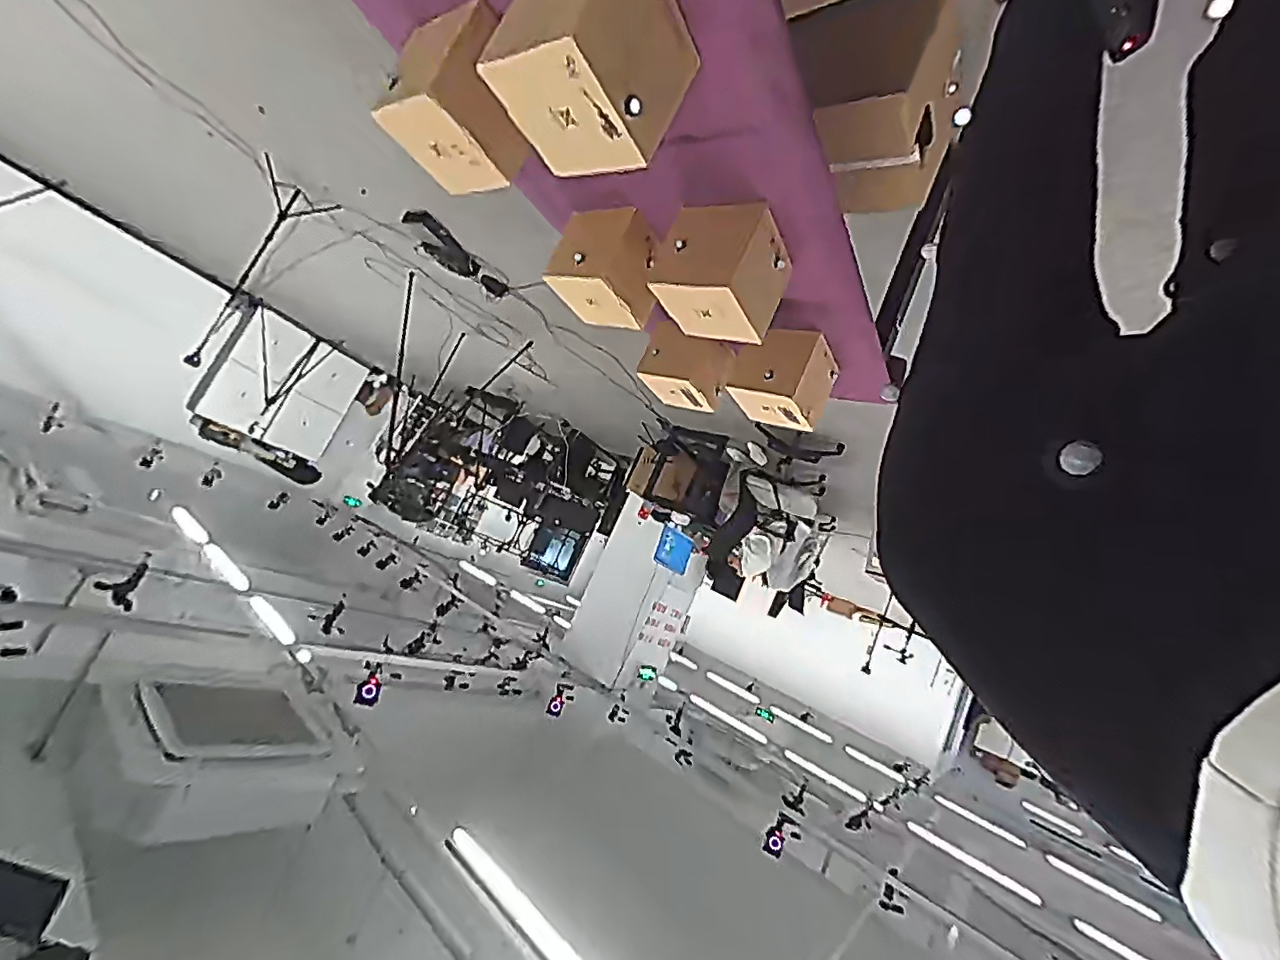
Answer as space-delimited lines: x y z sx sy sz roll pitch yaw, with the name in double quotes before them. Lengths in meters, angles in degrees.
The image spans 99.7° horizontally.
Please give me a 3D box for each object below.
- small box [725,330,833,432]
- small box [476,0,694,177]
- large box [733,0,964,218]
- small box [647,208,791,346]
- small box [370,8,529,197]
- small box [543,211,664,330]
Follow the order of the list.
"small box" 0.335 -0.235 1.267 0.179 0.176 0.168 19 169 39
"small box" -0.062 -0.516 0.679 0.179 0.176 0.168 20 172 37
"large box" 0.511 -0.885 1.315 0.408 0.320 0.320 19 169 38
"small box" 0.149 -0.370 0.987 0.179 0.176 0.168 19 170 36
"small box" -0.278 -0.583 0.854 0.179 0.176 0.168 17 170 36
"small box" -0.066 -0.442 1.144 0.179 0.176 0.168 17 168 36
